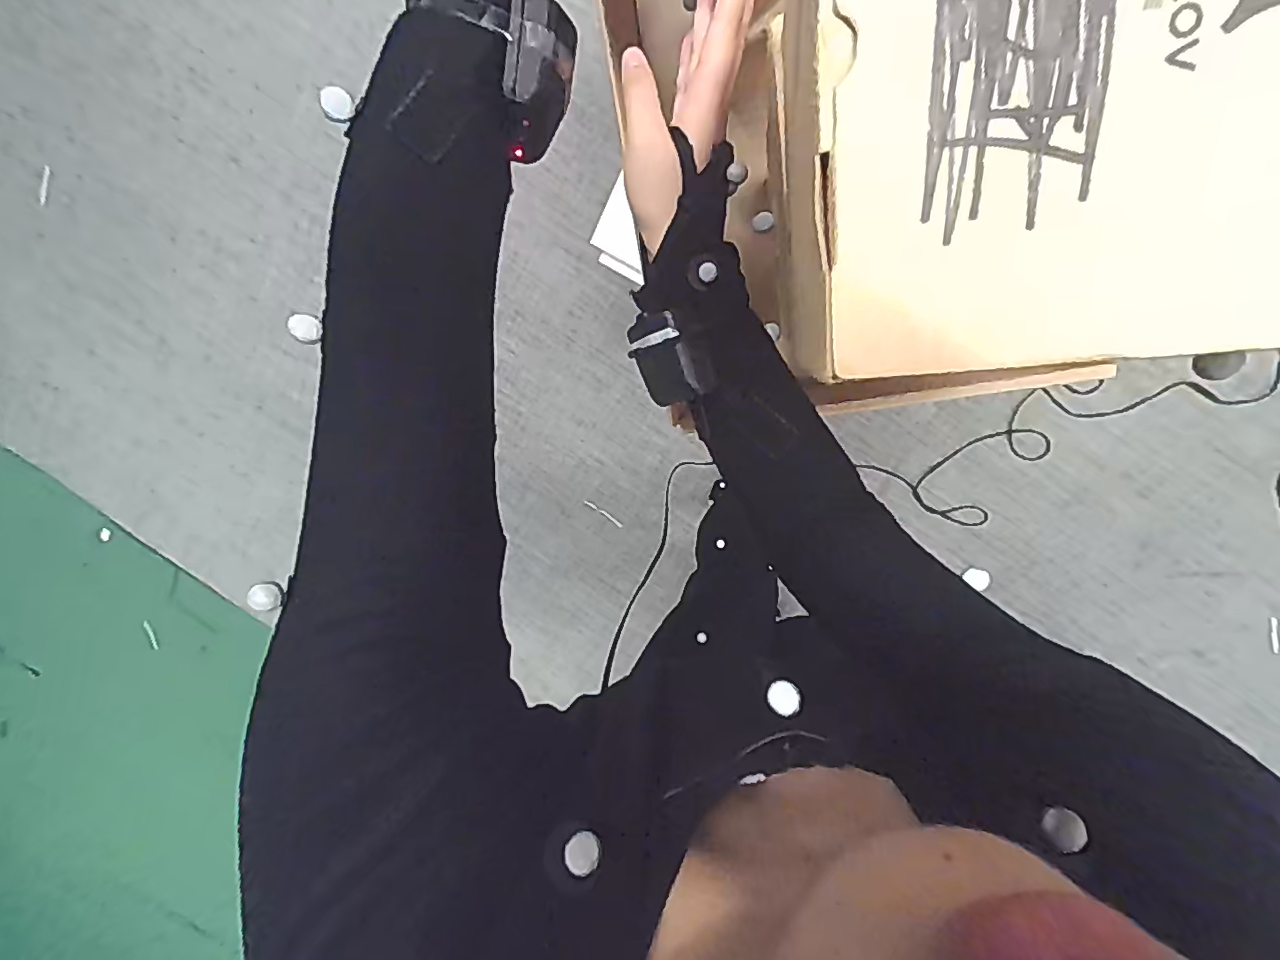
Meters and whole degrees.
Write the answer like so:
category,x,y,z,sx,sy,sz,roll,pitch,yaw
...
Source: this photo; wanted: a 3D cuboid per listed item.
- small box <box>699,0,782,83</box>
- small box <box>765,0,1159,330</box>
category,x,y,z,sx,sy,sz,roll,pitch,yaw
small box,0.124,-0.471,0.454,0.168,0.176,0.179,-16,109,17
small box,0.177,-0.194,0.352,0.179,0.176,0.168,-5,103,15
